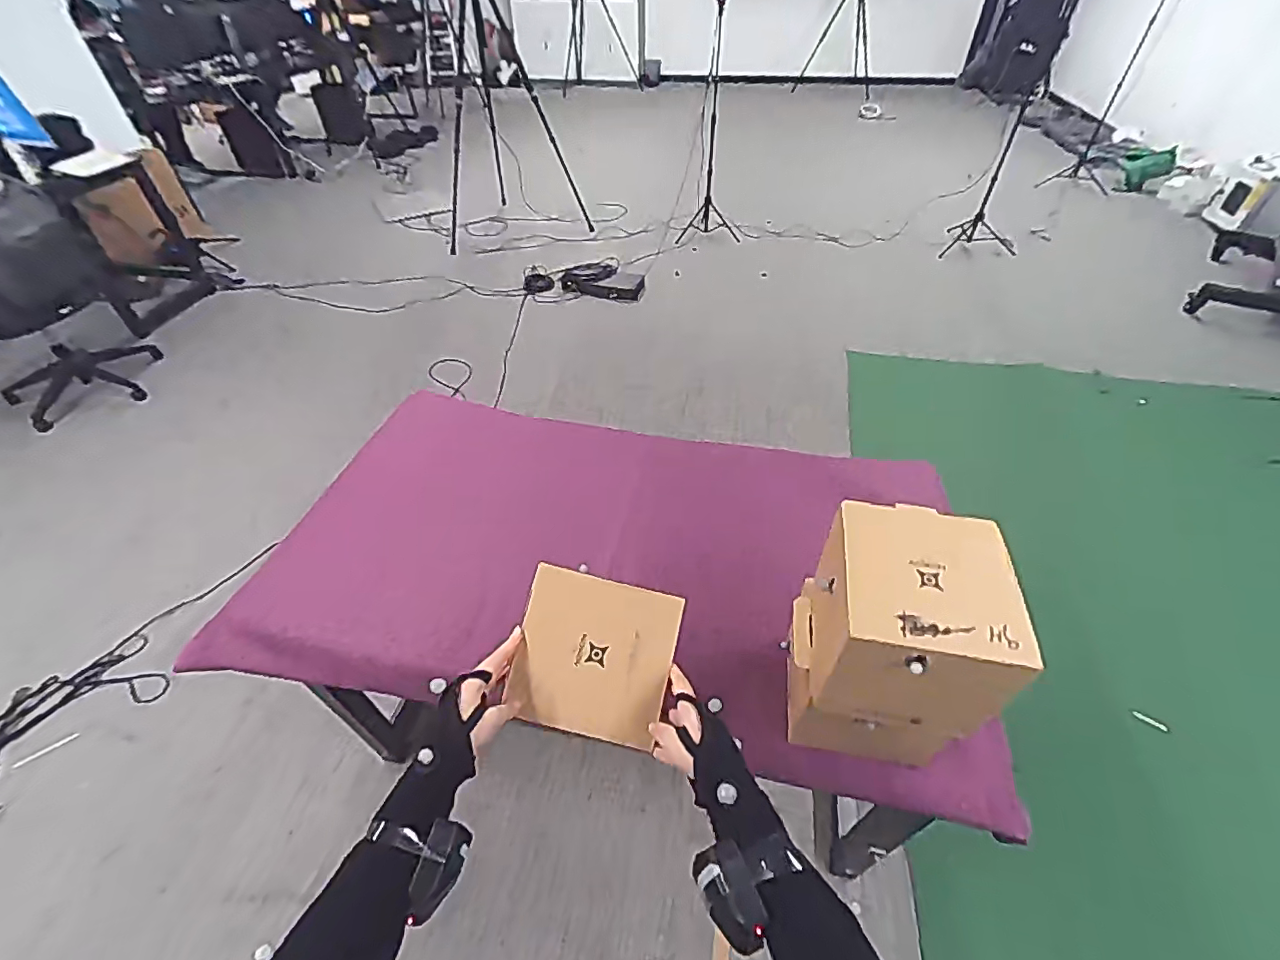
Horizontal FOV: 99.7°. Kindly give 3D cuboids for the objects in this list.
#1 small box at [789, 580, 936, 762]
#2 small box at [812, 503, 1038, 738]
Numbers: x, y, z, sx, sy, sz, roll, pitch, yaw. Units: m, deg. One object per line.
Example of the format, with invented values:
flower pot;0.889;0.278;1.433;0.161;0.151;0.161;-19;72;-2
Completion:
small box;0.299;0.258;0.729;0.179;0.176;0.168;6;46;8
small box;0.290;0.154;0.601;0.168;0.176;0.179;7;45;10
